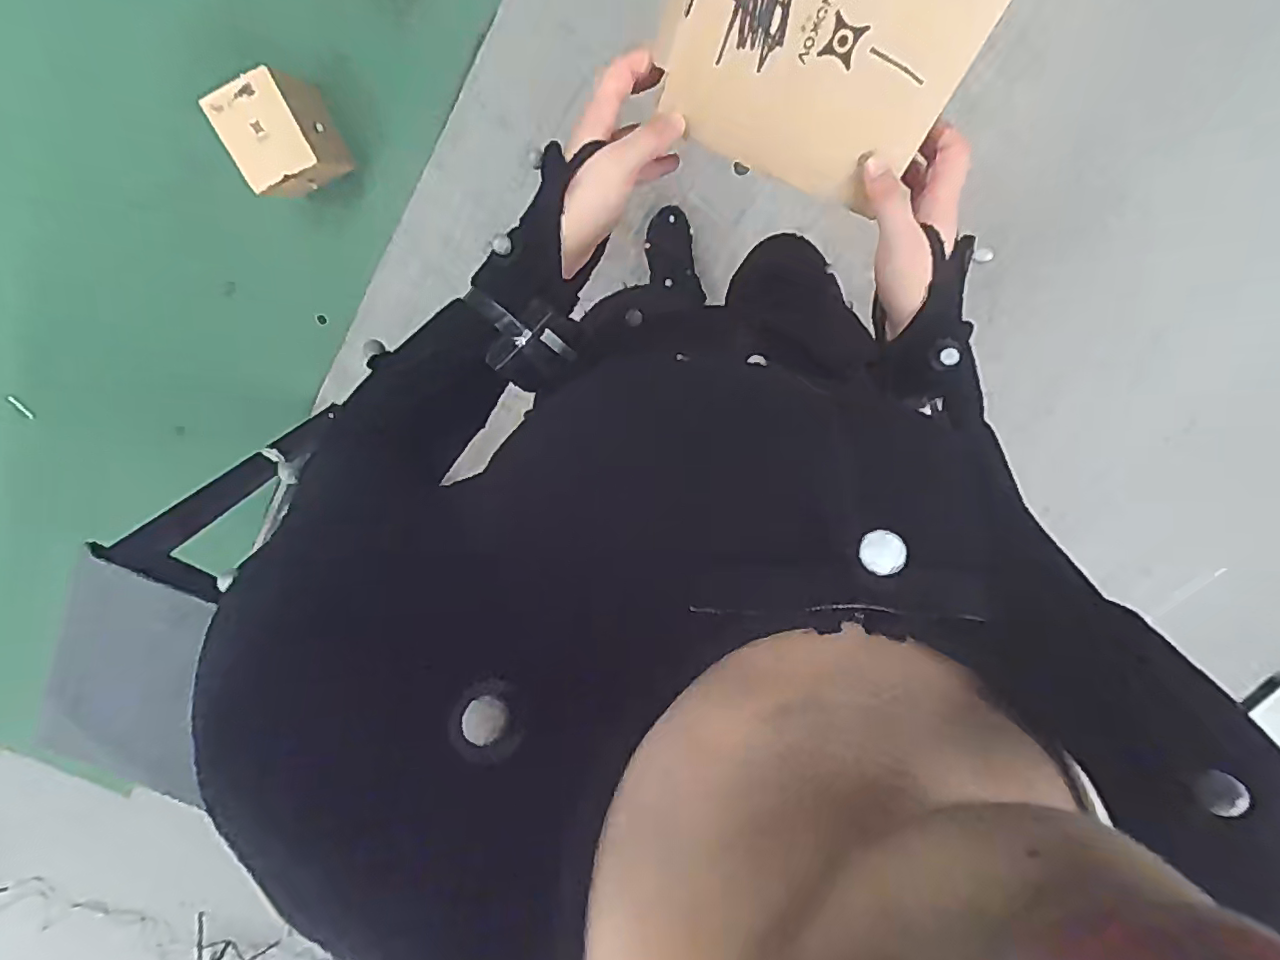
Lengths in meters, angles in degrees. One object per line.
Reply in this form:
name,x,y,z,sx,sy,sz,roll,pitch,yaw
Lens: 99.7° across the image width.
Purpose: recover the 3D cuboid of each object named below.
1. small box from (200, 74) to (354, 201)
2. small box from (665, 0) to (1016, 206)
small box,-0.748,-0.712,1.140,0.168,0.176,0.179,-17,115,10
small box,0.128,-0.327,0.379,0.179,0.176,0.168,17,131,-10
